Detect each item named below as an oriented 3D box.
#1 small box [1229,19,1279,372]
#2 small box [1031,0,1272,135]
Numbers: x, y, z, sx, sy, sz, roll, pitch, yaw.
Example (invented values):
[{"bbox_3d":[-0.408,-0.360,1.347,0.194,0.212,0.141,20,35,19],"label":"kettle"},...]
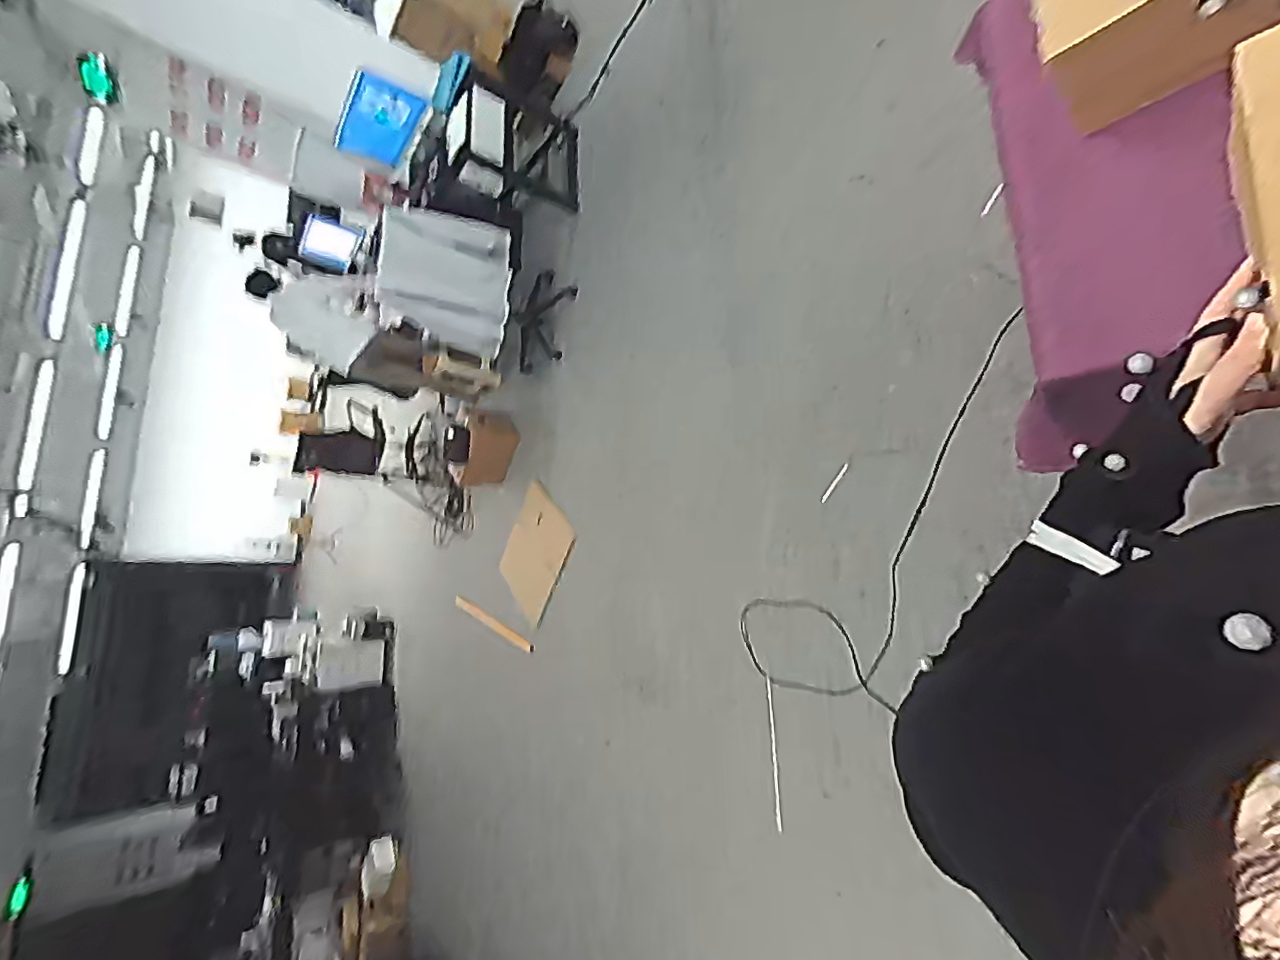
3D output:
[{"bbox_3d":[0.448,-0.165,0.290,0.168,0.176,0.179,-9,82,48],"label":"small box"},{"bbox_3d":[0.570,-0.546,0.610,0.179,0.176,0.168,-12,74,50],"label":"small box"}]
